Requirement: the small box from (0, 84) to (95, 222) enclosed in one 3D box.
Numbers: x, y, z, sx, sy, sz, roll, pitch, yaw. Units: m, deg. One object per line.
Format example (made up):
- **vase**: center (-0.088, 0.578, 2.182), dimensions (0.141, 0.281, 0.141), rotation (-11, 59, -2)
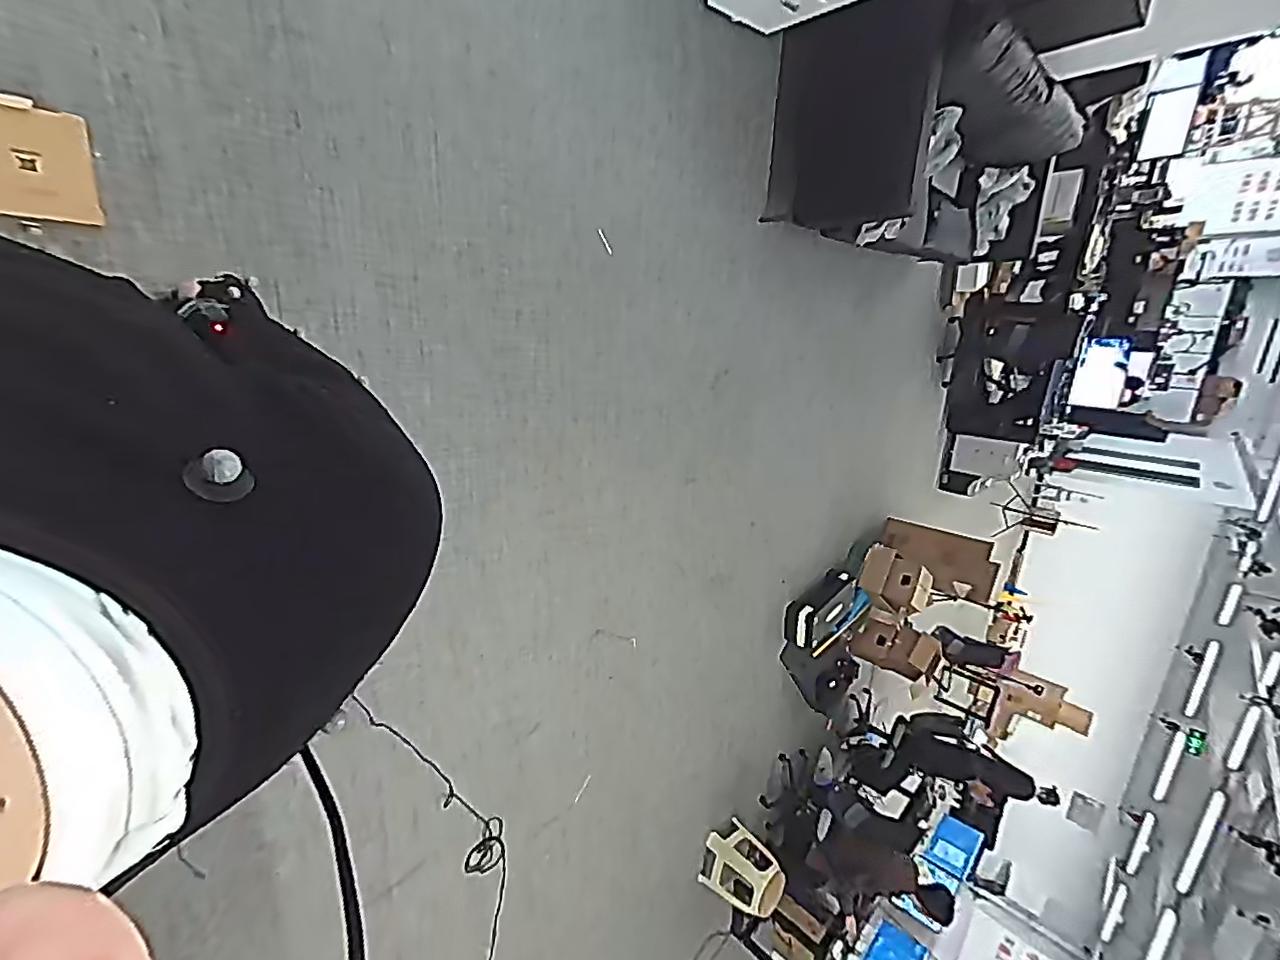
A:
- **small box**: center (-1.069, -0.560, 0.931), dimensions (0.168, 0.176, 0.179), rotation (-9, 110, -43)
